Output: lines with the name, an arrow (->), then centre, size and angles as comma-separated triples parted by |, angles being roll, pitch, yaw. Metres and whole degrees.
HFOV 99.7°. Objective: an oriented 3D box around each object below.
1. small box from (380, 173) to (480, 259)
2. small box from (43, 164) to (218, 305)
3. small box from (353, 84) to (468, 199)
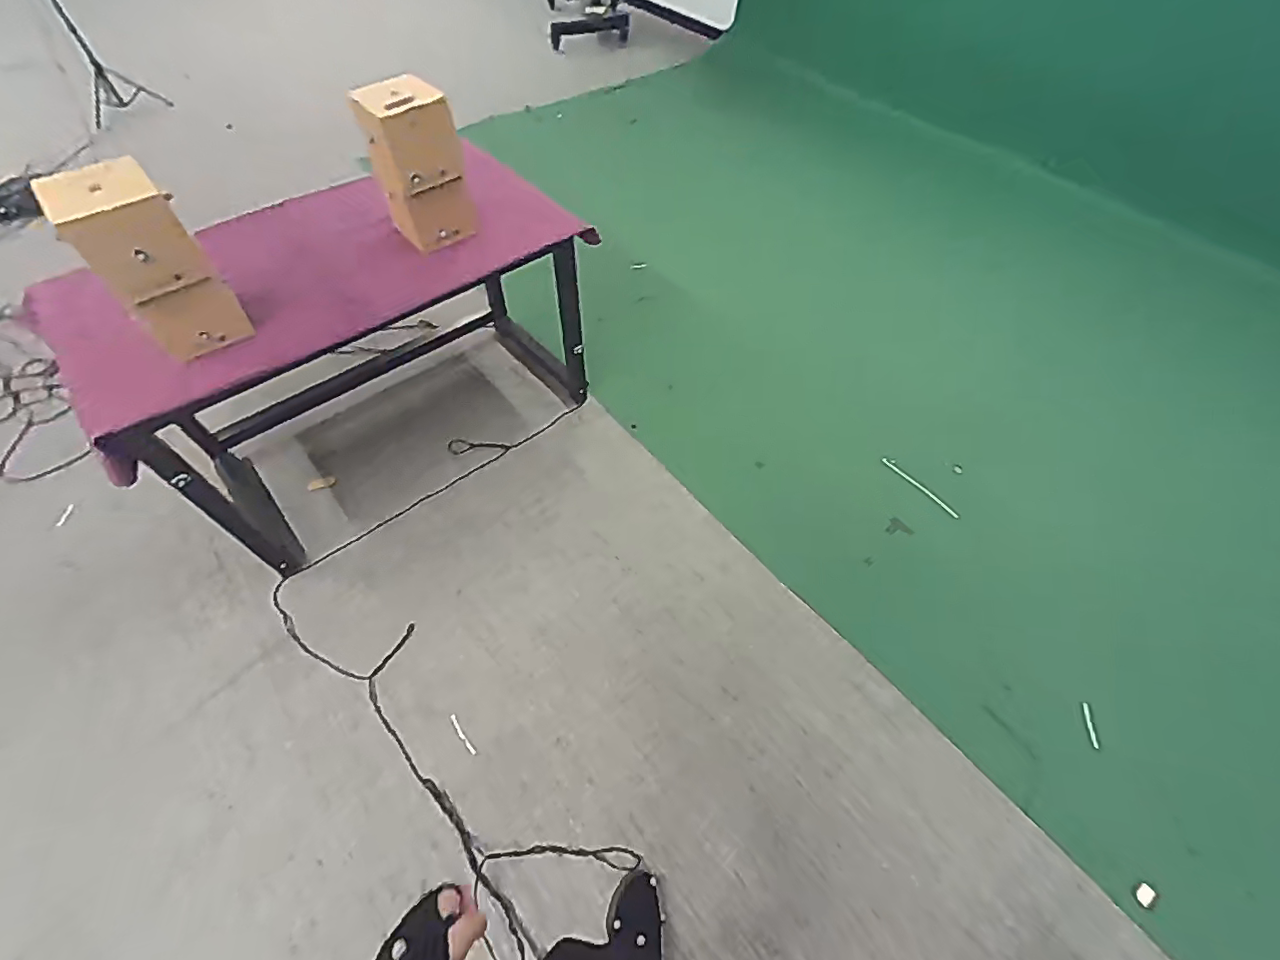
small box -> -0.548, -0.715, 1.424 | 0.168, 0.176, 0.179 | -33, 62, -20
small box -> -0.963, -0.462, 1.036 | 0.168, 0.176, 0.179 | -34, 64, -23
small box -> -0.535, -0.795, 1.281 | 0.168, 0.176, 0.179 | -35, 61, -21
